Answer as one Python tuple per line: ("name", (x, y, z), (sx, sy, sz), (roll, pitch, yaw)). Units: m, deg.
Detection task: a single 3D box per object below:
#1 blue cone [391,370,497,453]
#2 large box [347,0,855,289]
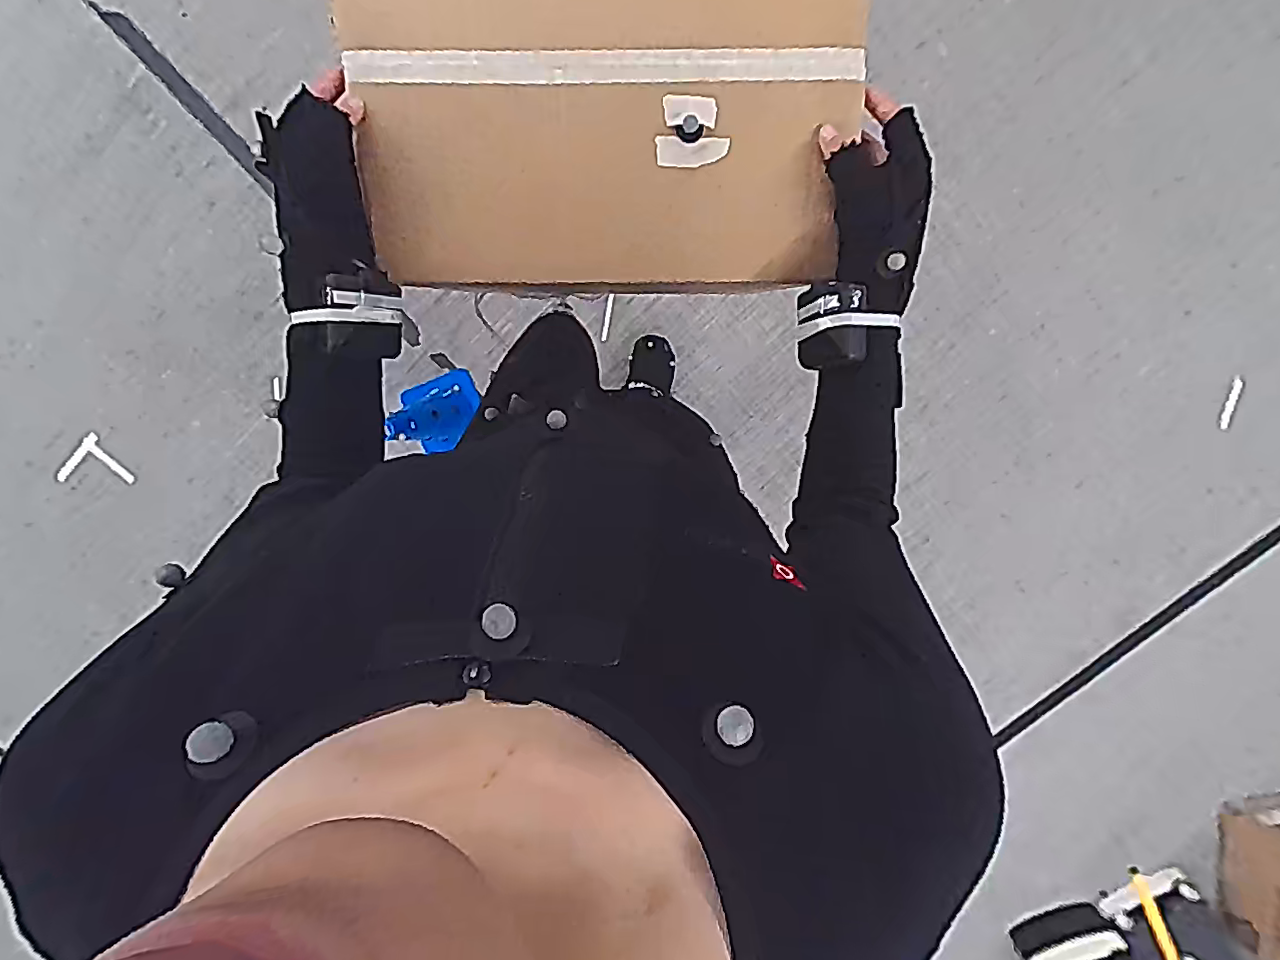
("blue cone", (-0.500, -0.150, 1.293), (0.193, 0.380, 0.192), (-19, 102, 5))
("large box", (-0.033, -0.379, 0.574), (0.408, 0.320, 0.320), (-1, 108, -1))
